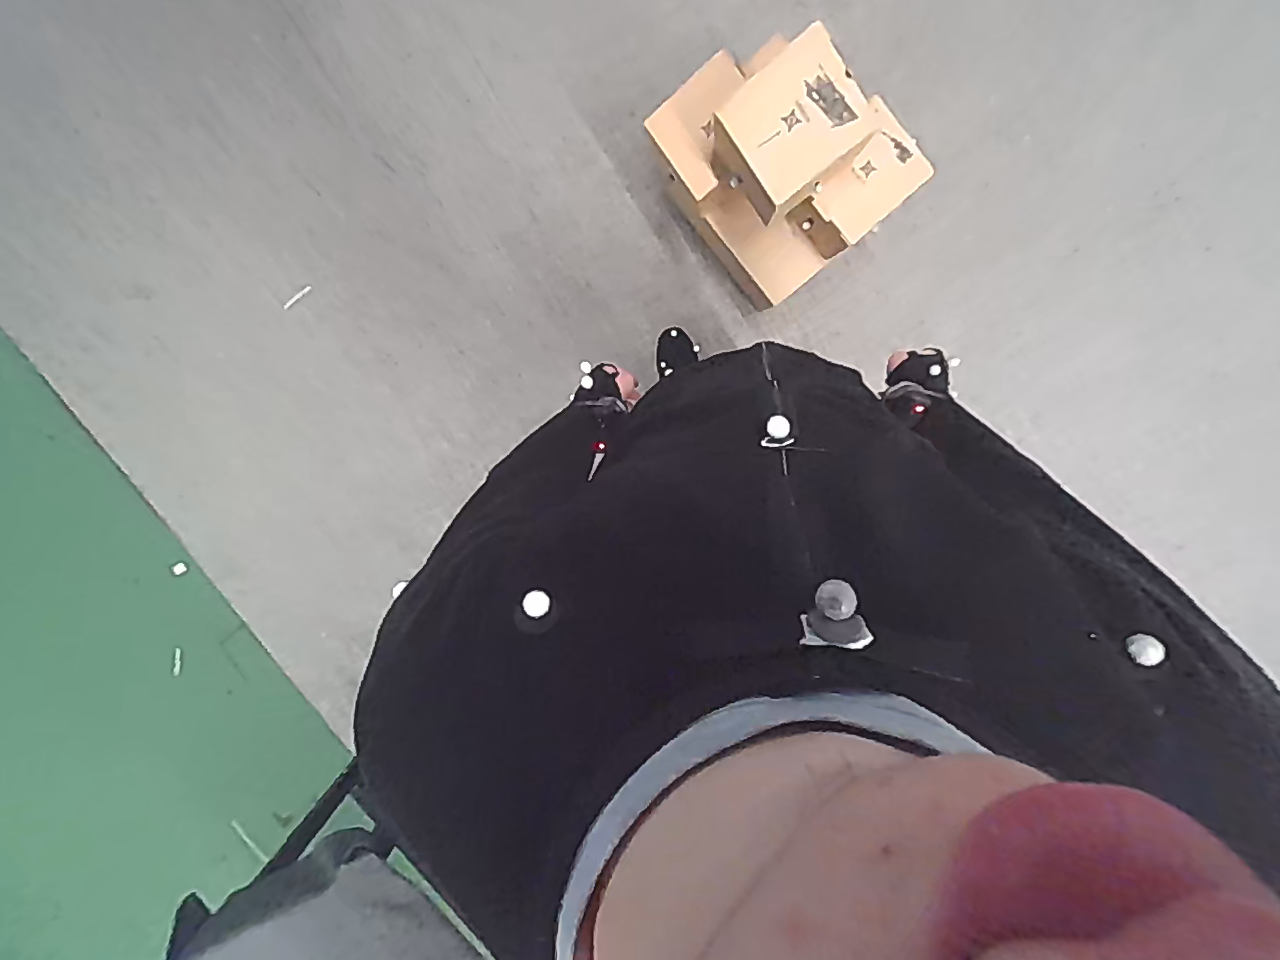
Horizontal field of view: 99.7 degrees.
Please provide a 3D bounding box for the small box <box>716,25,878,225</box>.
[{"bbox_3d":[0.232,-0.535,0.847,0.179,0.176,0.168,-34,98,16],"label":"small box"}]

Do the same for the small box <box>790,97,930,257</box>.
[{"bbox_3d":[0.384,-0.541,0.998,0.179,0.176,0.168,-40,97,14],"label":"small box"}]
